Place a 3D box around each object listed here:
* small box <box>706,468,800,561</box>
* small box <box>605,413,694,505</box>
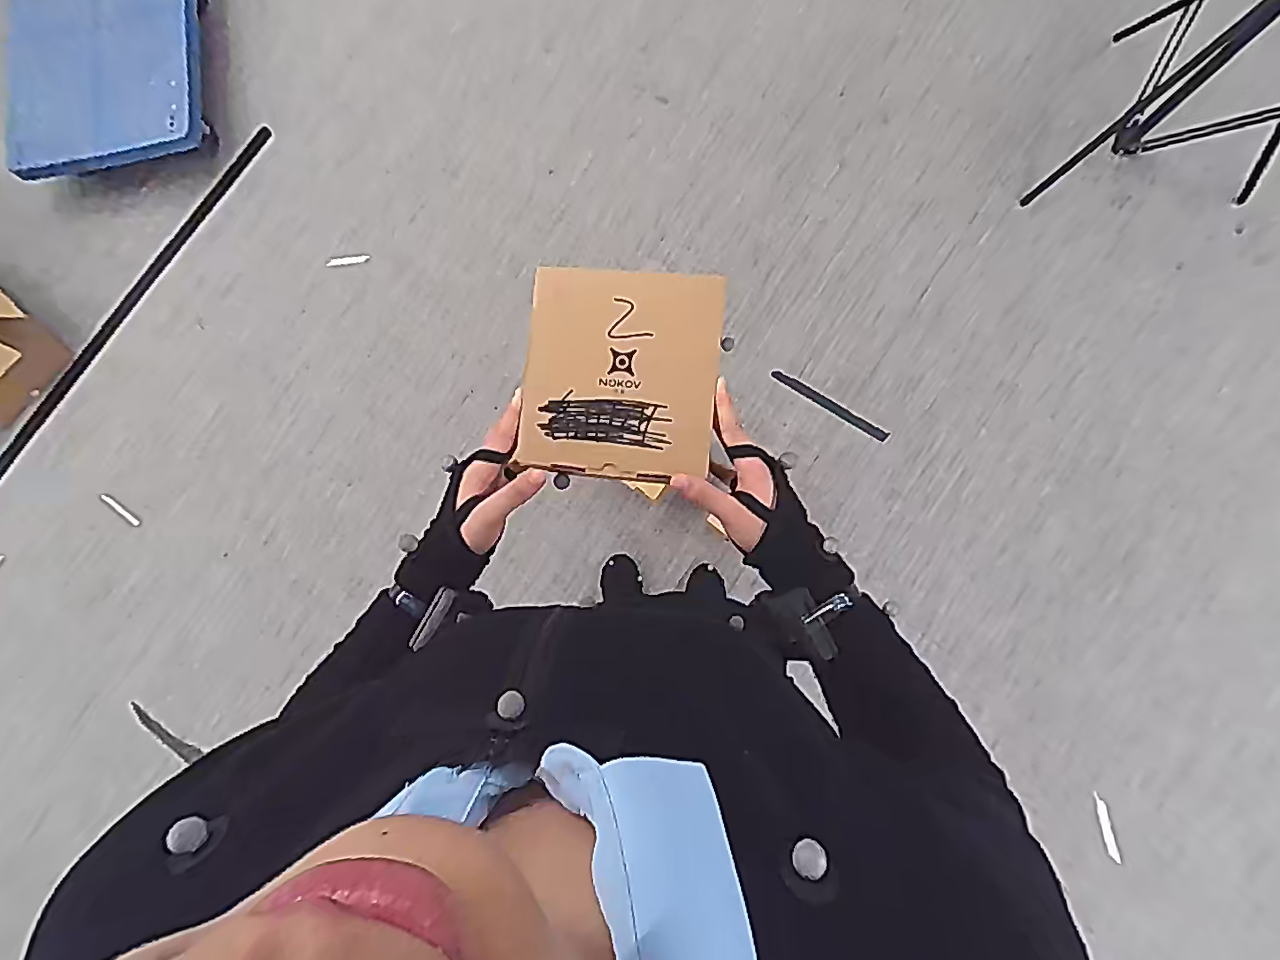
[{"bbox_3d":[0.286,0.094,1.415,0.168,0.176,0.179,38,86,7],"label":"small box"},{"bbox_3d":[0.027,-0.049,1.455,0.168,0.176,0.179,35,86,8],"label":"small box"}]
